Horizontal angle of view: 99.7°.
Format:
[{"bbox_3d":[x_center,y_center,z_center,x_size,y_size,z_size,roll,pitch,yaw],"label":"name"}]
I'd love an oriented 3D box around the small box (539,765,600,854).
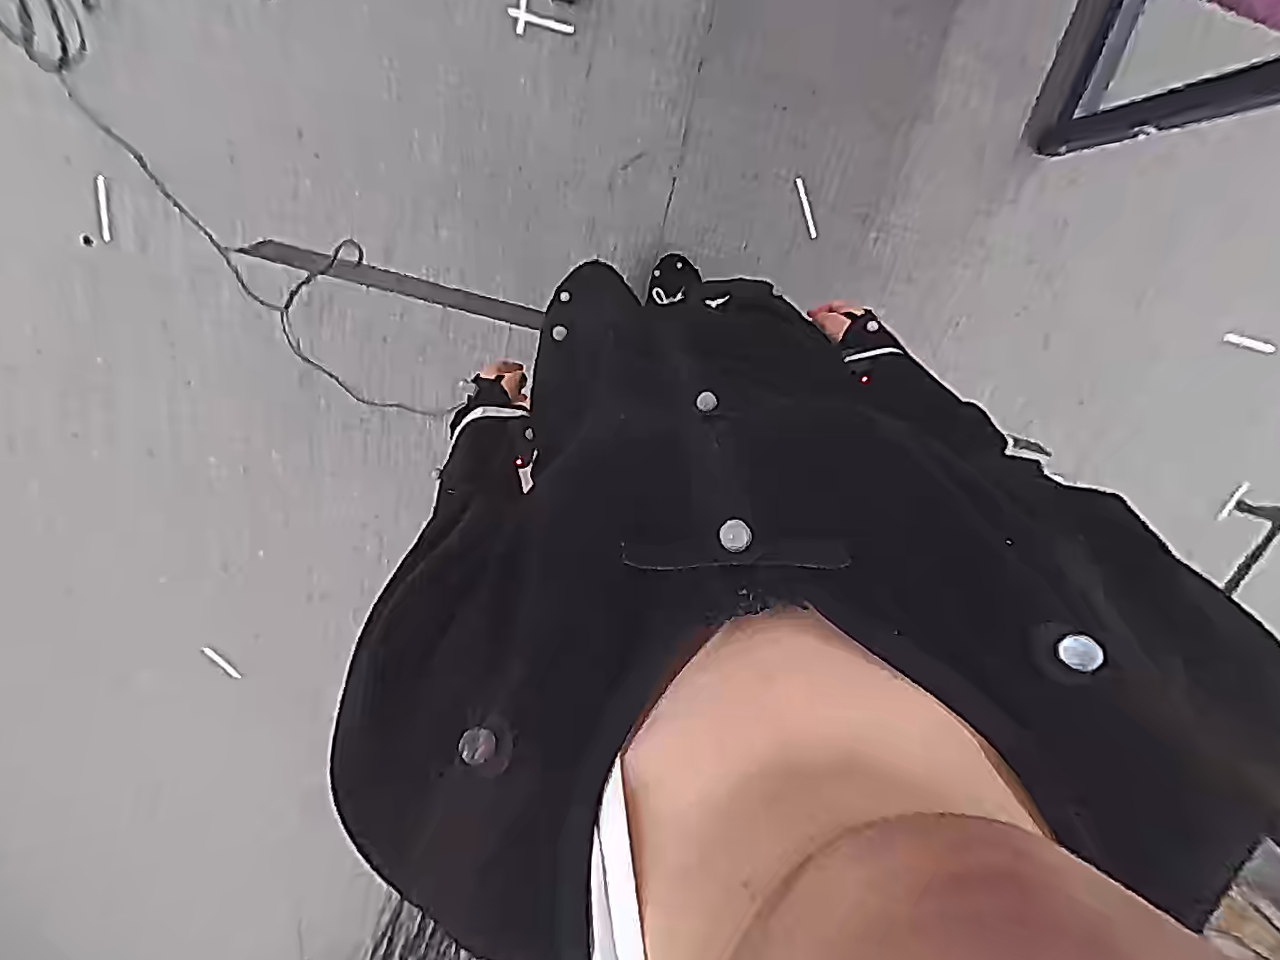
[{"bbox_3d":[-0.219,1.042,1.713,0.168,0.176,0.179,8,113,-5],"label":"small box"}]
